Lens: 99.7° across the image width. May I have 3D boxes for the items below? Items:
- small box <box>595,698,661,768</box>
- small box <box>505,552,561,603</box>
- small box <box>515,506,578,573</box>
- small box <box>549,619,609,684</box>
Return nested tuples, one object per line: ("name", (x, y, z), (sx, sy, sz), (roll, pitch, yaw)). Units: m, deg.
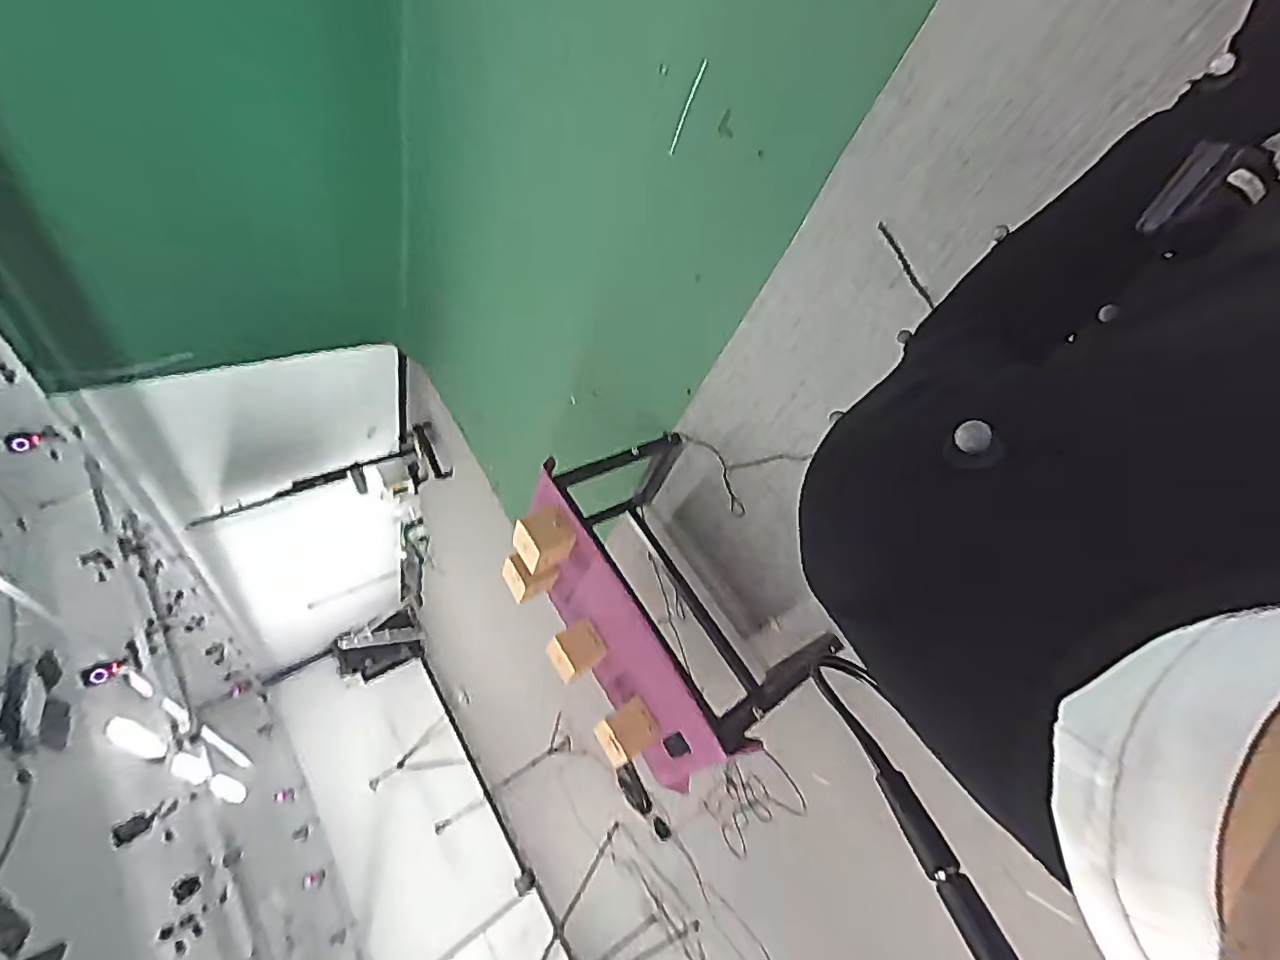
("small box", (-0.042, 0.965, 2.068), (0.168, 0.176, 0.179), (54, 144, 20))
("small box", (-0.463, 0.403, 2.345), (0.168, 0.176, 0.179), (54, 144, 18))
("small box", (-0.364, 0.231, 2.107), (0.168, 0.176, 0.179), (53, 142, 20))
("small box", (-0.249, 0.701, 2.215), (0.168, 0.176, 0.179), (53, 143, 20))
